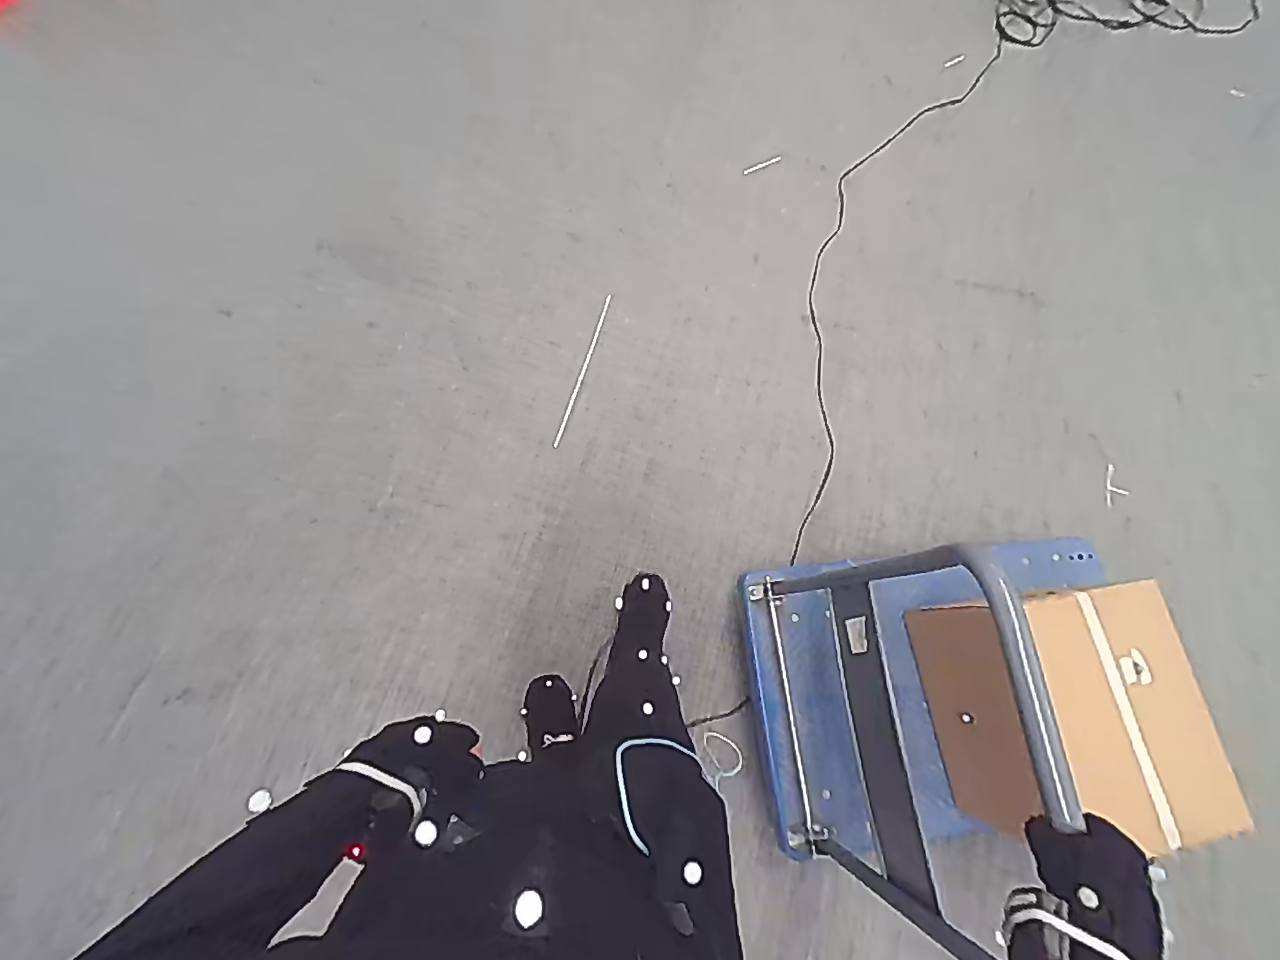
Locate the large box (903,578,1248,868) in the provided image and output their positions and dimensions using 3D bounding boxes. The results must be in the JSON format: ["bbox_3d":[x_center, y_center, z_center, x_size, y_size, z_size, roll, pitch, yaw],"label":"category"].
[{"bbox_3d":[0.778,0.427,1.038,0.320,0.320,0.408,-8,75,-7],"label":"large box"}]
